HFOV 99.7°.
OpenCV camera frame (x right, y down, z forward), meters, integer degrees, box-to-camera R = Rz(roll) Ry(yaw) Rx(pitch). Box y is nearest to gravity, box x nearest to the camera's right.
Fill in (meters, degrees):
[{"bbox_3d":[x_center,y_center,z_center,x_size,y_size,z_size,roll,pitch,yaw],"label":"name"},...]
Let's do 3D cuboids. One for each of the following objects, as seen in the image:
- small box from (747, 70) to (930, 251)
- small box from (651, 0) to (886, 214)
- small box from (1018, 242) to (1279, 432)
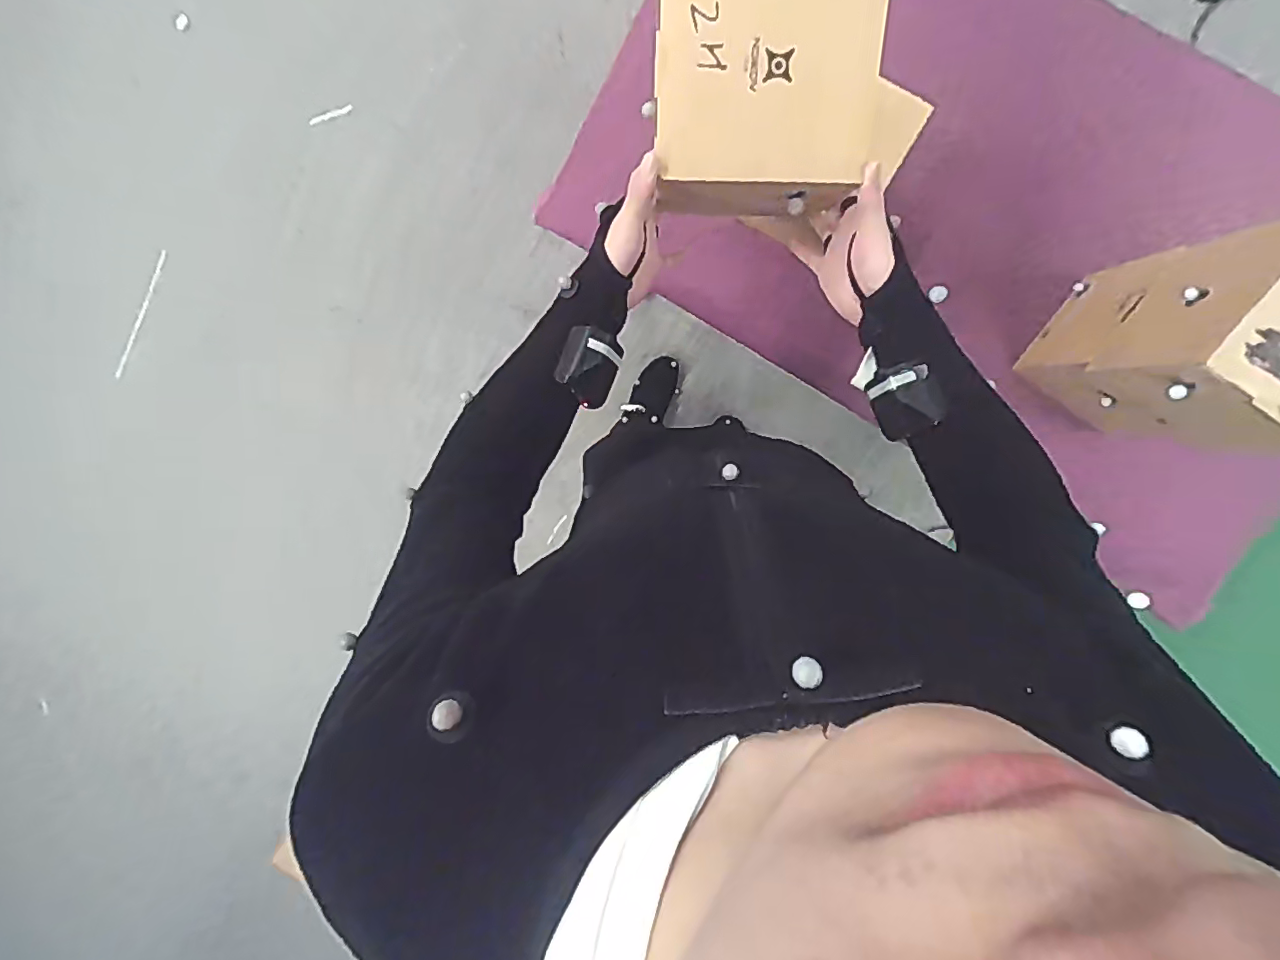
[{"bbox_3d":[0.244,-0.437,0.739,0.179,0.176,0.168,30,101,1],"label":"small box"},{"bbox_3d":[0.101,-0.350,0.497,0.179,0.176,0.168,2,107,2],"label":"small box"},{"bbox_3d":[0.673,-0.182,0.732,0.179,0.176,0.168,34,101,-1],"label":"small box"}]
